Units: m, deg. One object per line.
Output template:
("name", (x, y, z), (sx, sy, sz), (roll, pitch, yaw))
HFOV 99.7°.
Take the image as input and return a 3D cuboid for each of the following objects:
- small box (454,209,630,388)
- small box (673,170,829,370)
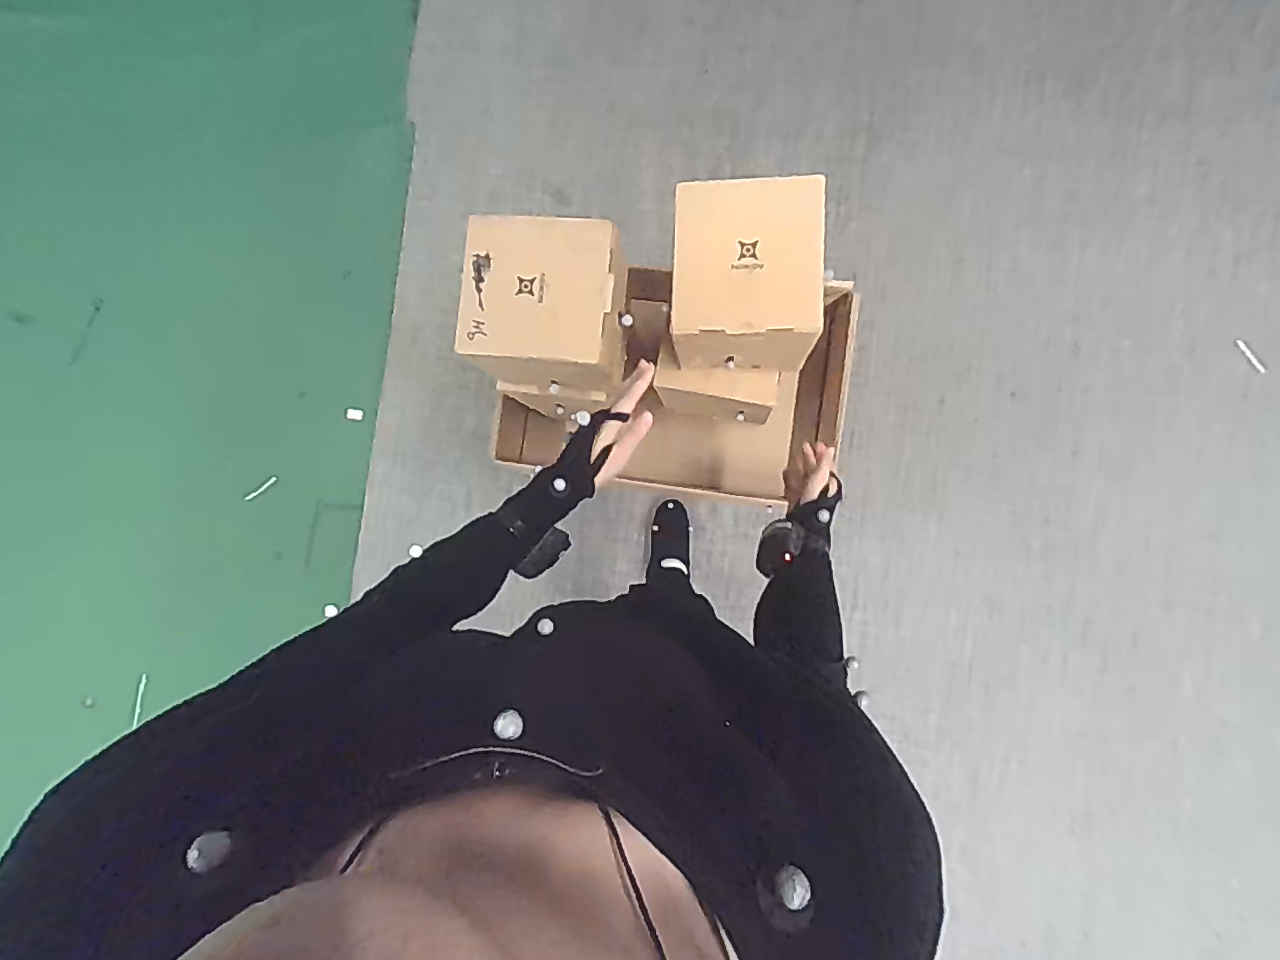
("small box", (-0.111, -0.218, 0.690), (0.179, 0.176, 0.168), (6, 88, 6))
("small box", (0.129, -0.245, 0.665), (0.168, 0.176, 0.179), (1, 87, 8))
